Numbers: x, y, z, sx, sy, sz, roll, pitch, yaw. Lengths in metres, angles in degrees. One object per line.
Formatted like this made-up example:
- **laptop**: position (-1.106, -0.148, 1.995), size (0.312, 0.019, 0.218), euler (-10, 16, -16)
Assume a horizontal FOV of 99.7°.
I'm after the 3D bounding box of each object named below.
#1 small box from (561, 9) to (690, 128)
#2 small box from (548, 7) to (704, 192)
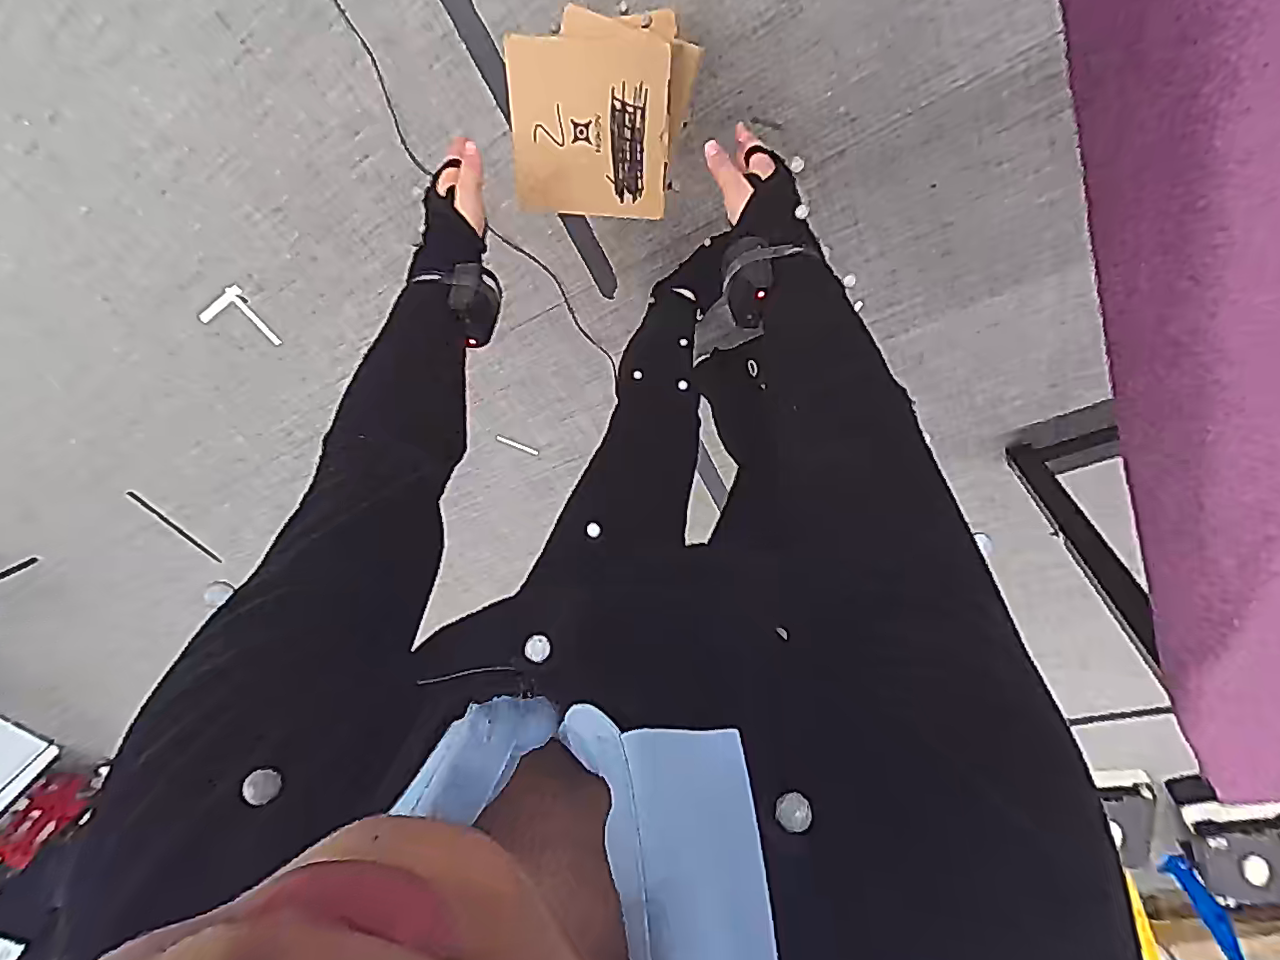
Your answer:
- **small box**: position (-0.013, -0.651, 0.890), size (0.179, 0.176, 0.168), euler (-1, 128, 10)
- **small box**: position (-0.015, -0.538, 0.768), size (0.179, 0.176, 0.168), euler (16, 128, -4)
